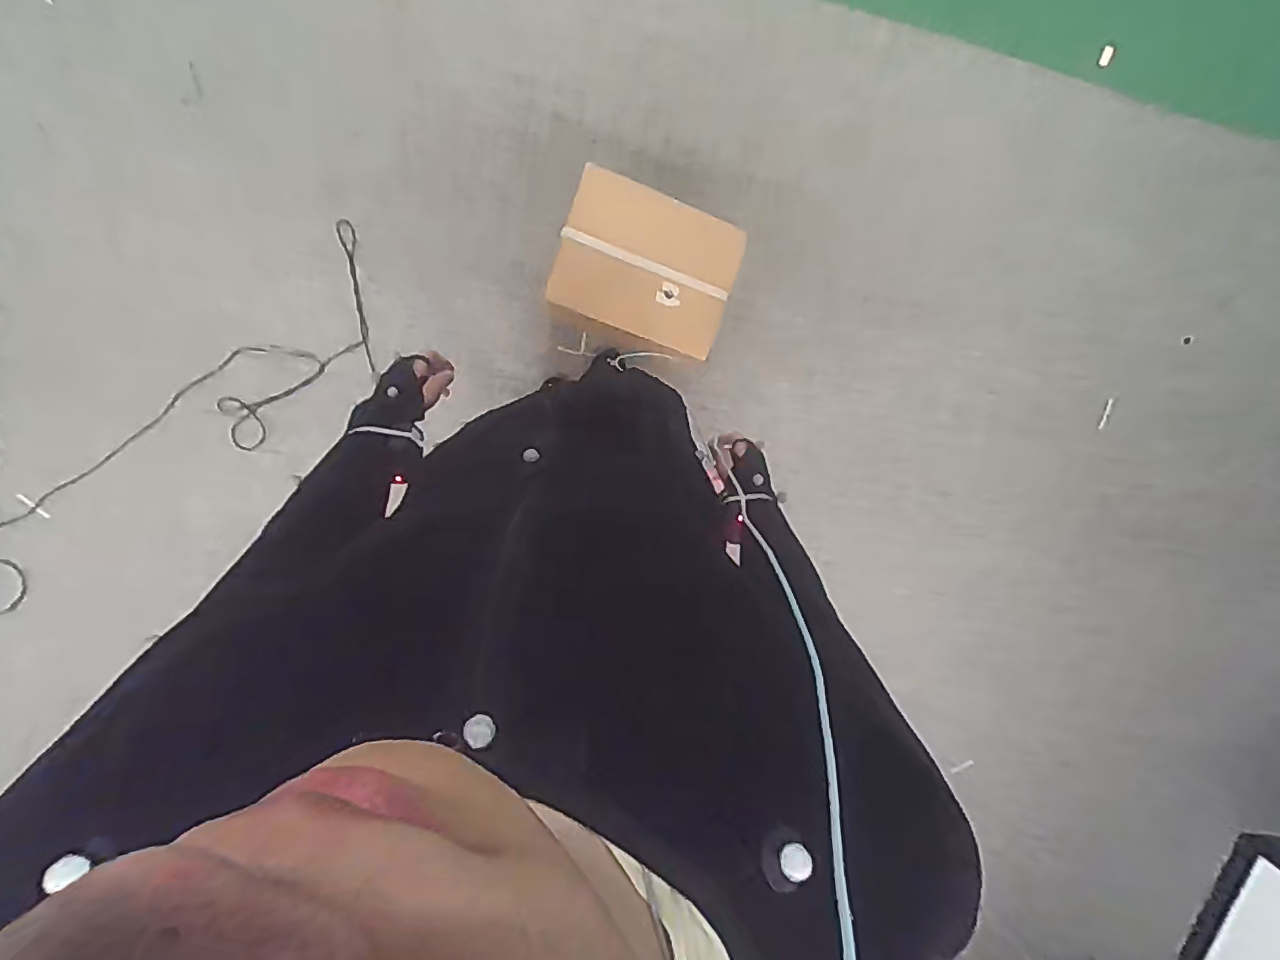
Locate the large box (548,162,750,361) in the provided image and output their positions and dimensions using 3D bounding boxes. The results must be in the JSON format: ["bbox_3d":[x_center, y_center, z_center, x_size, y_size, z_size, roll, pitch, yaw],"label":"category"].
[{"bbox_3d":[0.000,-0.522,1.378,0.408,0.320,0.320,19,97,-11],"label":"large box"}]
